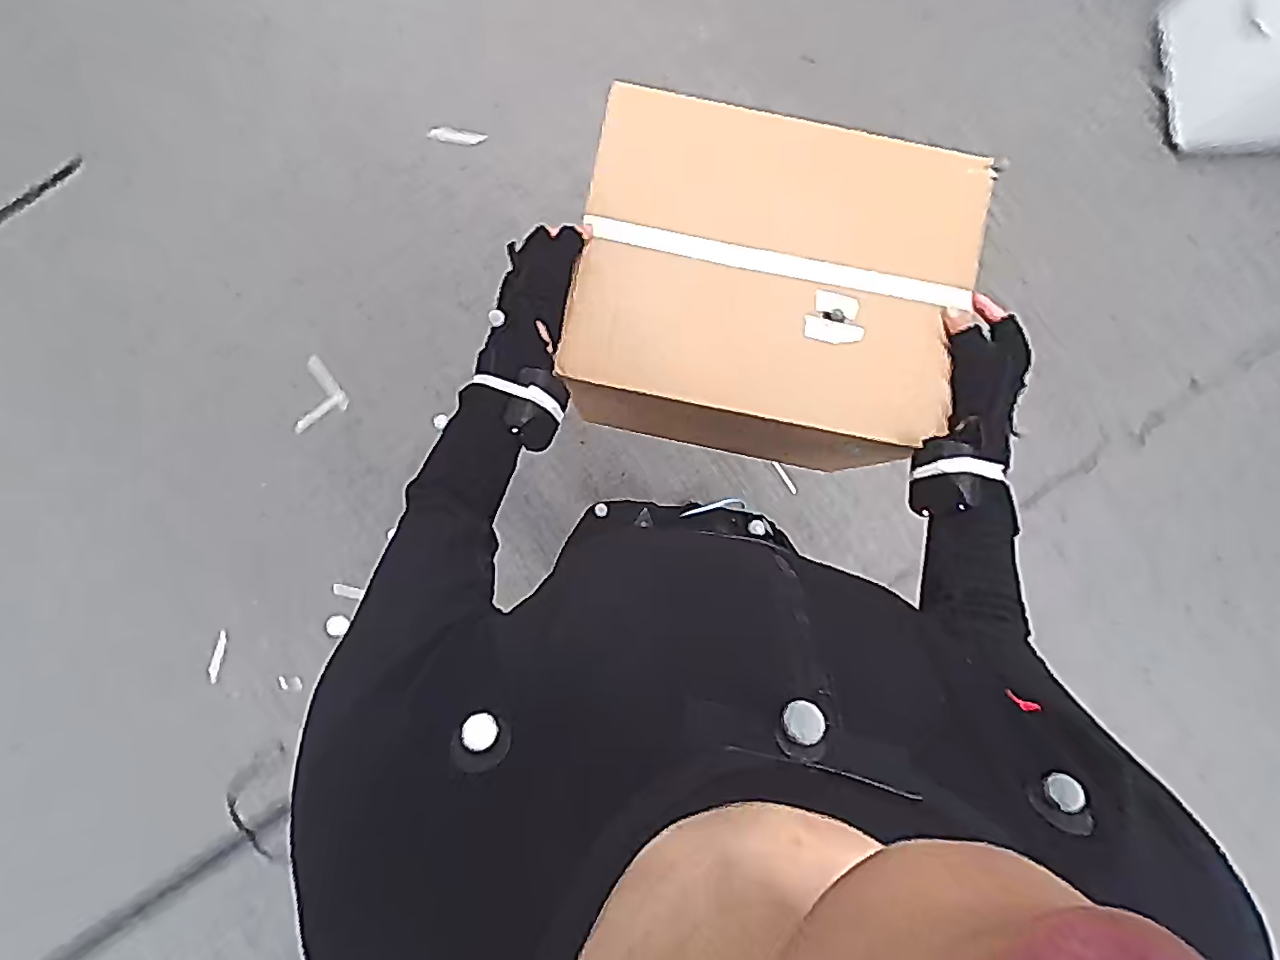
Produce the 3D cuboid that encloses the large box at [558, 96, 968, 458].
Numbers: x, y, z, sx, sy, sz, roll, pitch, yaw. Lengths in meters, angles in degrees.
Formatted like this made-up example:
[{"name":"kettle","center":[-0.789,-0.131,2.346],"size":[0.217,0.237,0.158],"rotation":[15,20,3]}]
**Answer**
[{"name":"large box","center":[0.127,-0.221,0.717],"size":[0.408,0.320,0.320],"rotation":[10,89,-1]}]
